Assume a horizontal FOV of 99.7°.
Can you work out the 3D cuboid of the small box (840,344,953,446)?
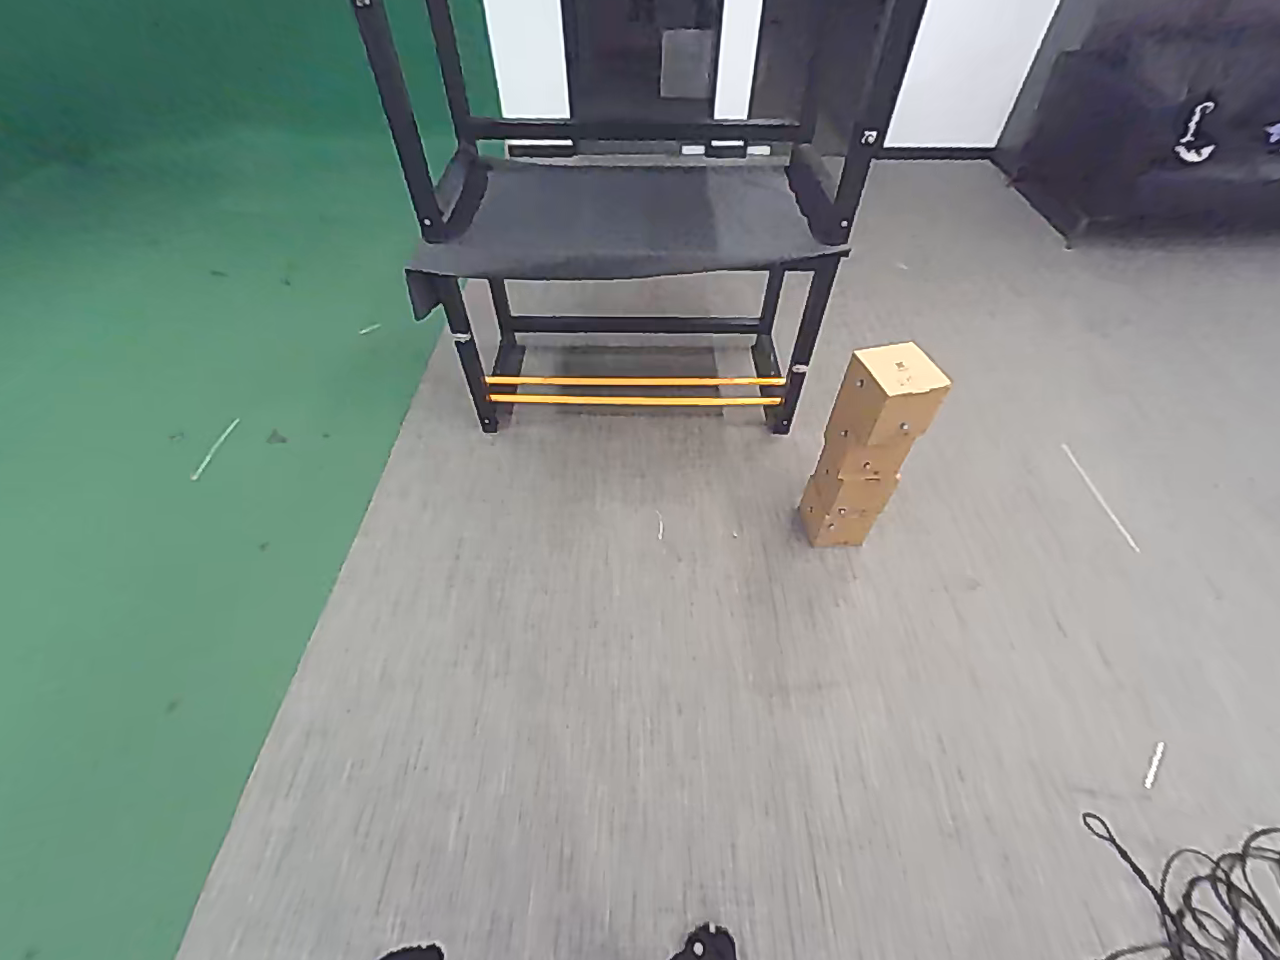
[{"bbox_3d":[0.625,-0.210,1.347,0.168,0.176,0.179,-10,51,-8],"label":"small box"}]

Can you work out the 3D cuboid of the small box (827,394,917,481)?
[{"bbox_3d":[0.627,-0.118,1.483,0.168,0.176,0.179,0,49,1],"label":"small box"}]

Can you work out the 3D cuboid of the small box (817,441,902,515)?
[{"bbox_3d":[0.640,-0.008,1.602,0.168,0.176,0.179,-2,48,-2],"label":"small box"}]
